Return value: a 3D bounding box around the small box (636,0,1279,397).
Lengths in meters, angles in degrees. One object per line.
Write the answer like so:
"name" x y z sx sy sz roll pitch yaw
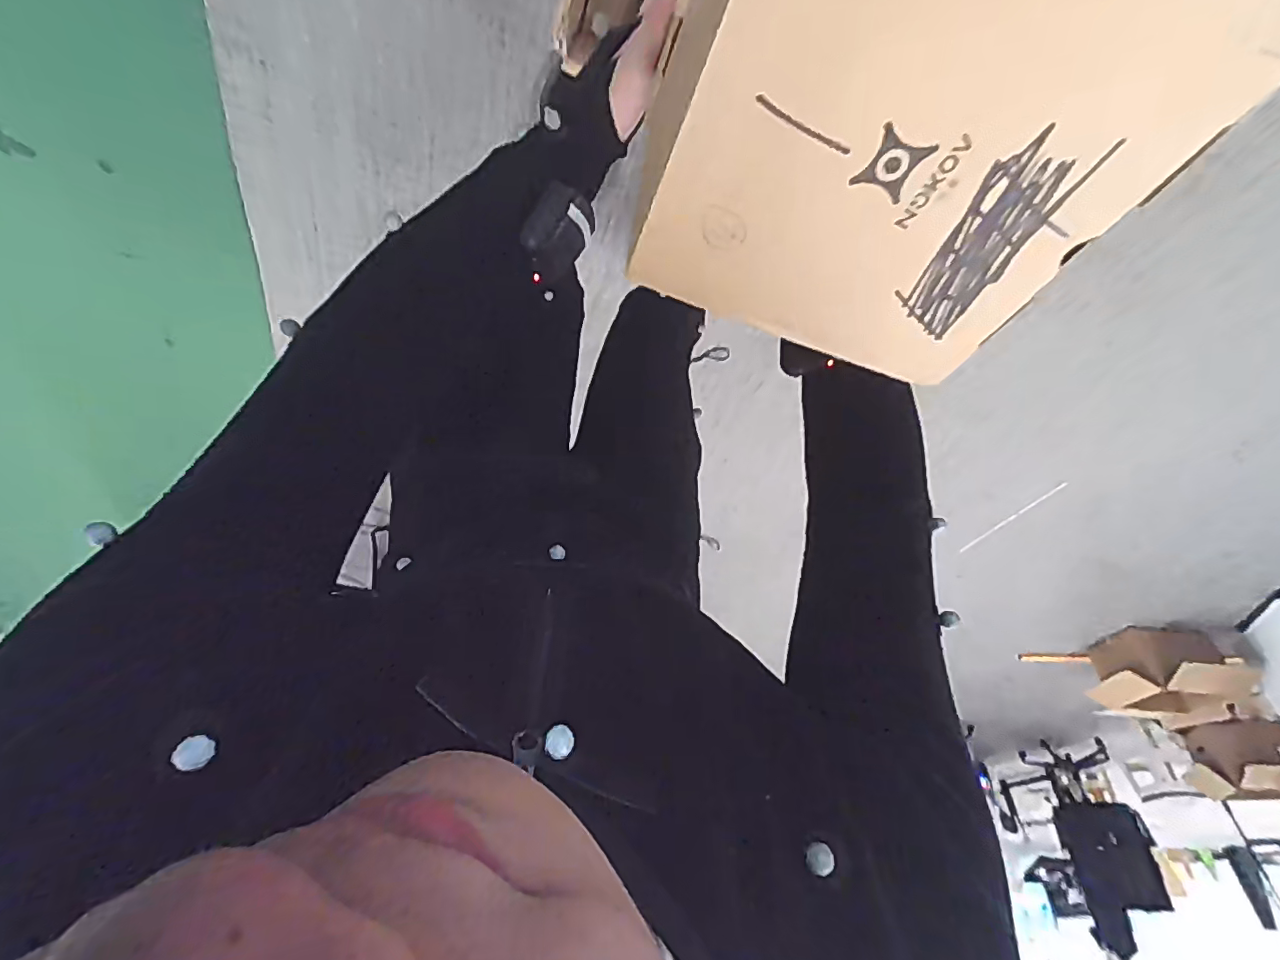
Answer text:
"small box" 0.113 -0.172 0.250 0.179 0.176 0.168 16 143 -13
